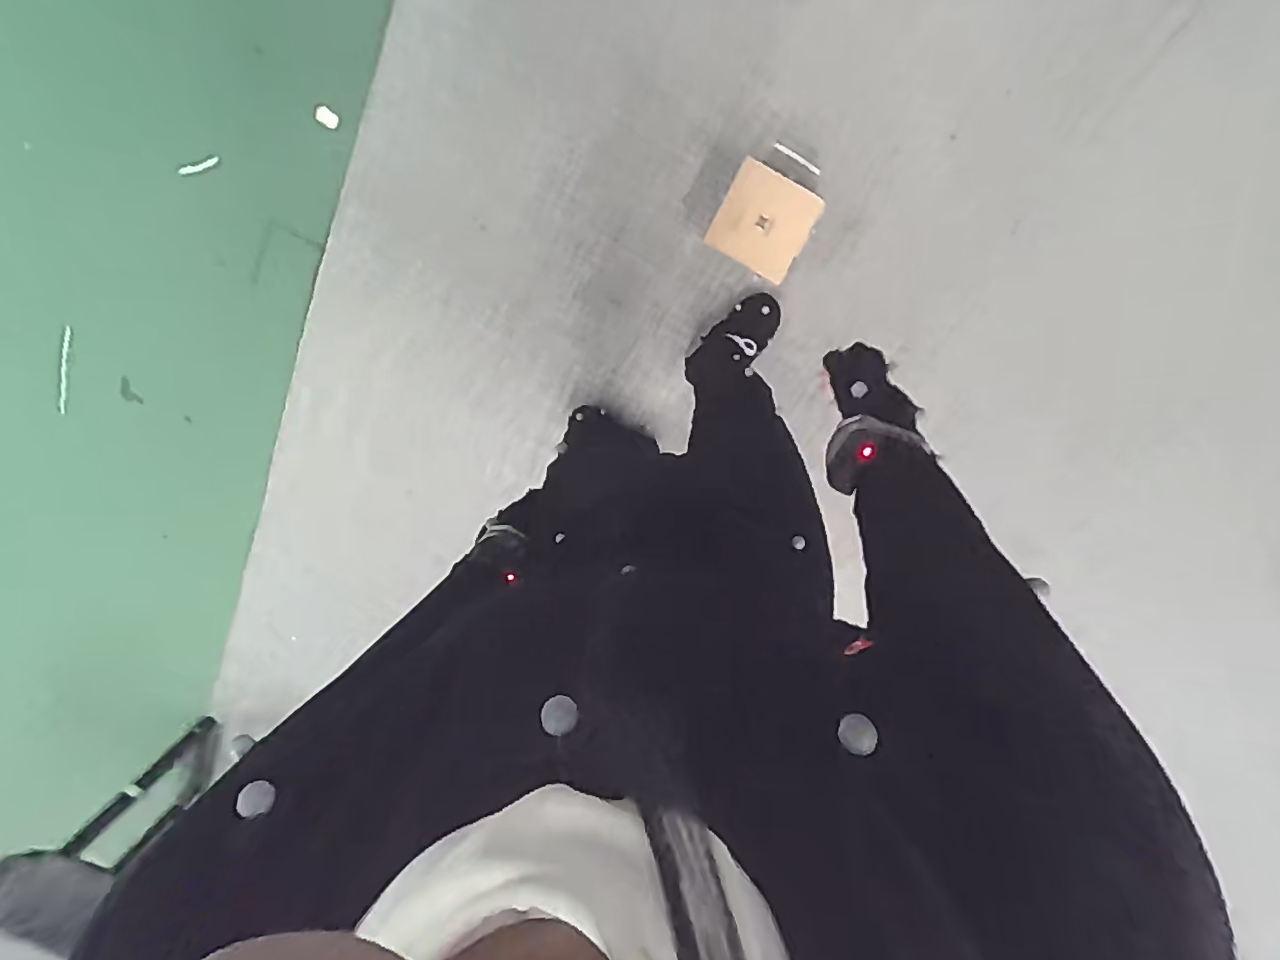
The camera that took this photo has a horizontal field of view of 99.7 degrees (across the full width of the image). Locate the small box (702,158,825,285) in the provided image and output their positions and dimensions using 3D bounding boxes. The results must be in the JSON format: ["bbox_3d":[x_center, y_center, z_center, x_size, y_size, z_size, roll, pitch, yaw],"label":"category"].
[{"bbox_3d":[0.247,-0.520,1.098,0.179,0.176,0.168,29,115,-1],"label":"small box"}]
